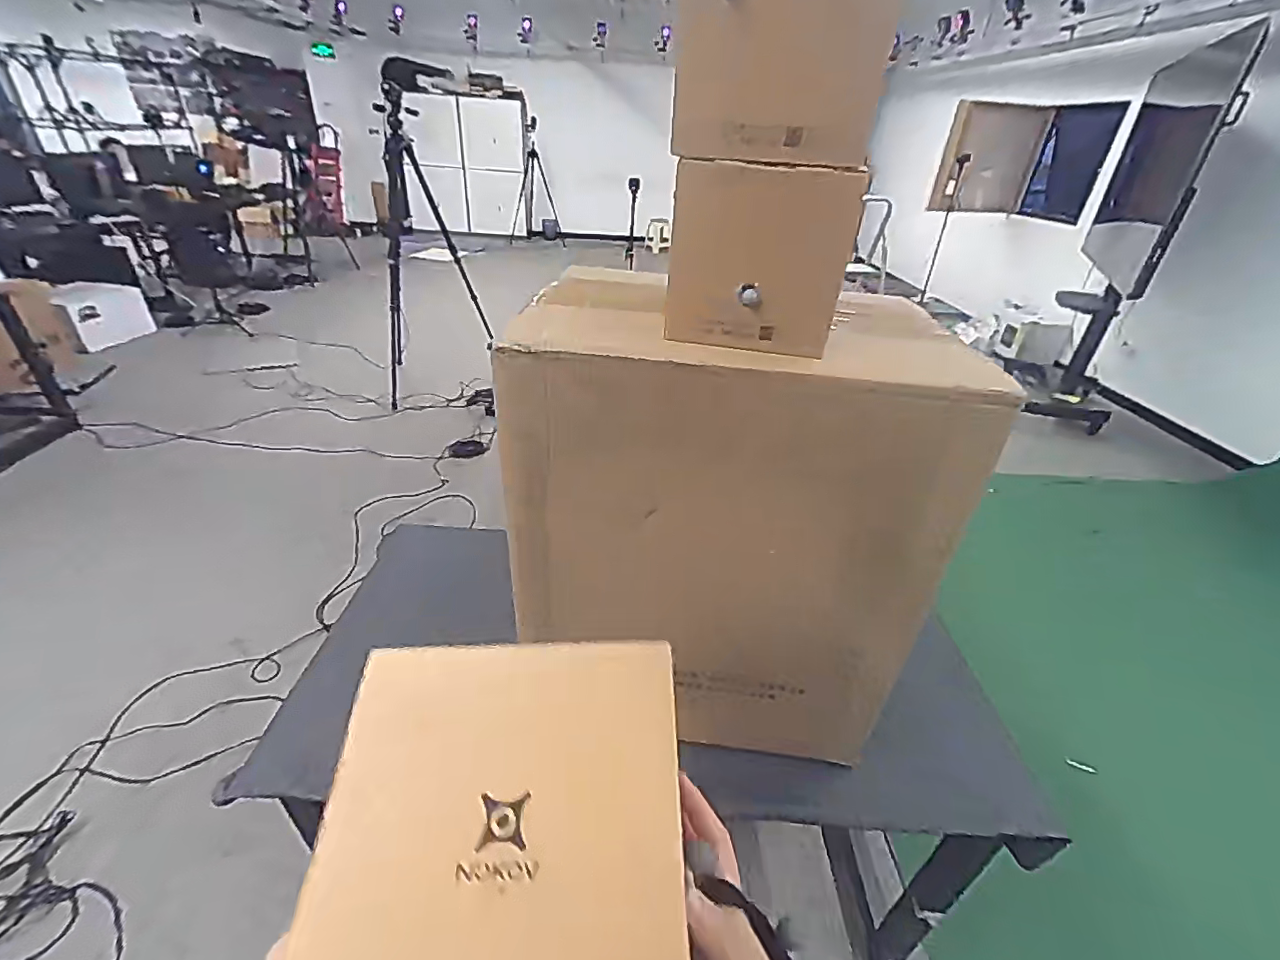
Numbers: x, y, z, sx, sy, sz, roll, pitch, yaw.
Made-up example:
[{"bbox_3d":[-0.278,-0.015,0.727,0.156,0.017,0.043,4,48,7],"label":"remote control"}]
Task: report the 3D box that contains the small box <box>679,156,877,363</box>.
[{"bbox_3d":[0.139,-0.246,0.593,0.168,0.176,0.179,10,35,8],"label":"small box"}]
